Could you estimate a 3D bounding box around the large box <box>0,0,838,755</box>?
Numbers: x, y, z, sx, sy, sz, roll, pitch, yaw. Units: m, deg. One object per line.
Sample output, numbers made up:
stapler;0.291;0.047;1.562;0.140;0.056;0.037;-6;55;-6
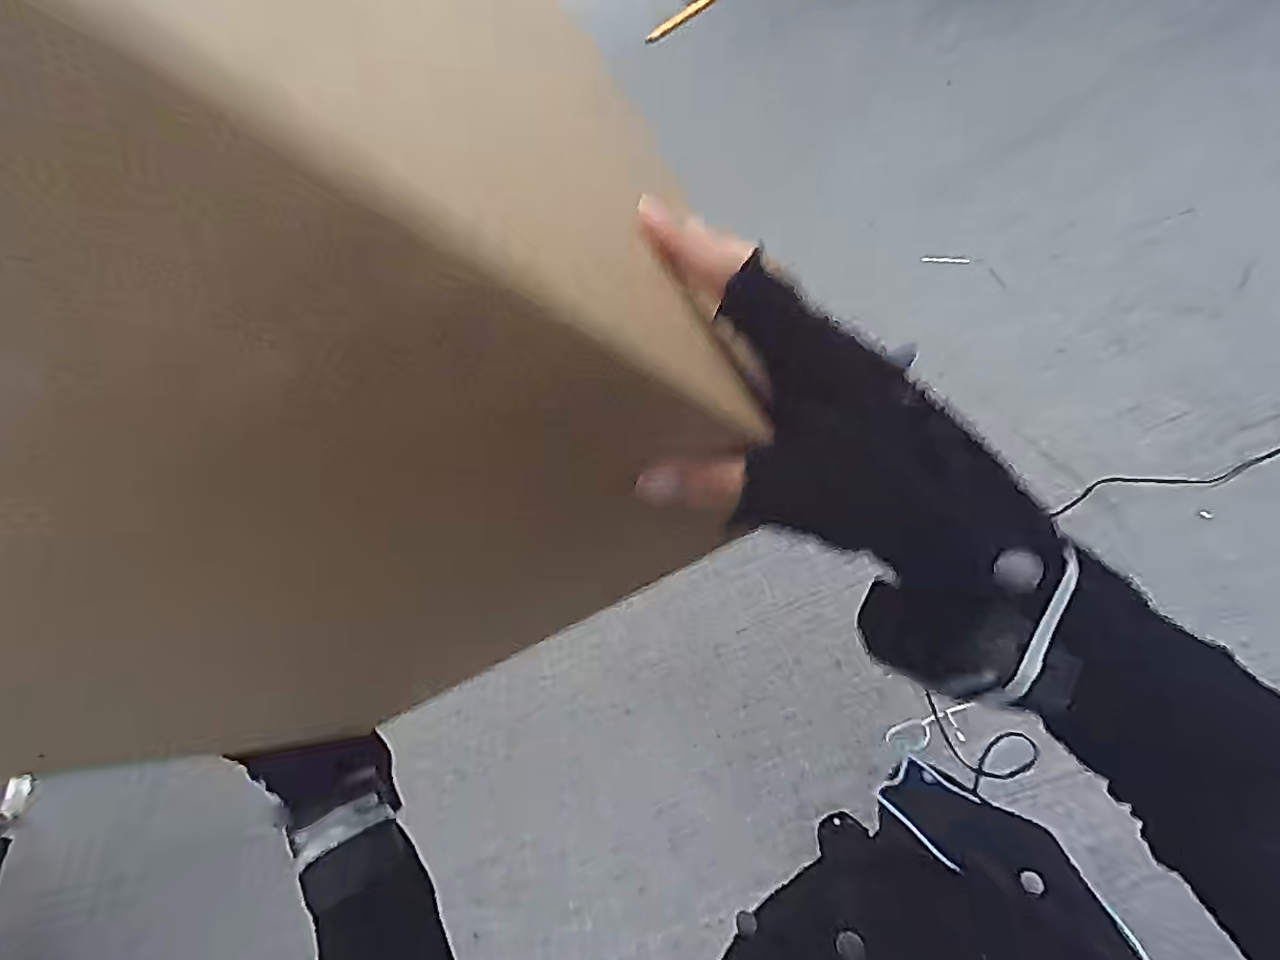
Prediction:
large box;-0.182;-0.076;0.288;0.408;0.320;0.320;-32;59;25
